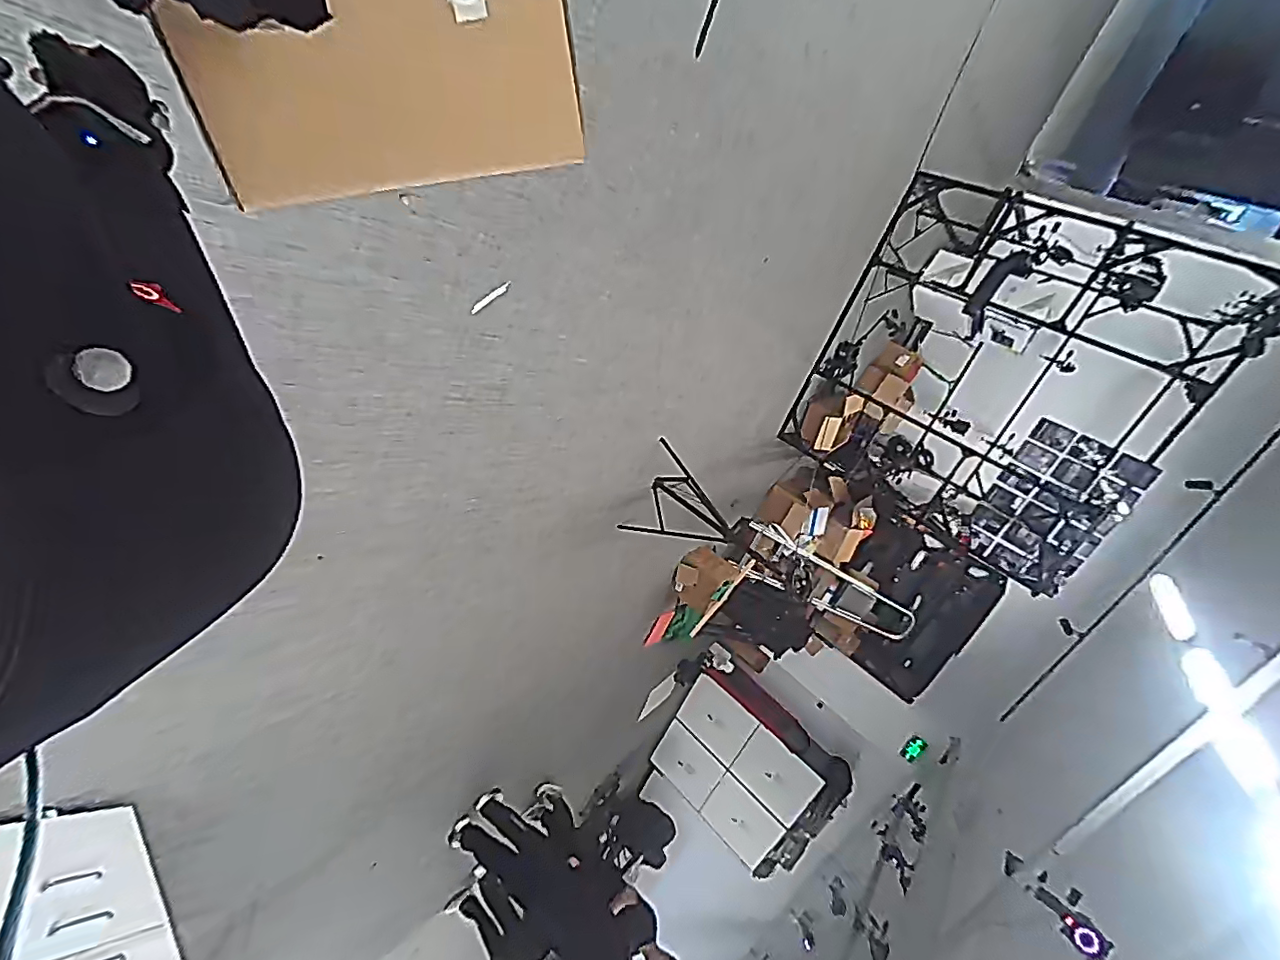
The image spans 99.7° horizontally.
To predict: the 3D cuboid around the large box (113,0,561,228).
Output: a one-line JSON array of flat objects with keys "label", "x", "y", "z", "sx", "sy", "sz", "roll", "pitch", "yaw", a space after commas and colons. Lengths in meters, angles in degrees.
[{"label": "large box", "x": -0.326, "y": -0.457, "z": 0.556, "sx": 0.320, "sy": 0.408, "sz": 0.320, "roll": -24, "pitch": 123, "yaw": -26}]
